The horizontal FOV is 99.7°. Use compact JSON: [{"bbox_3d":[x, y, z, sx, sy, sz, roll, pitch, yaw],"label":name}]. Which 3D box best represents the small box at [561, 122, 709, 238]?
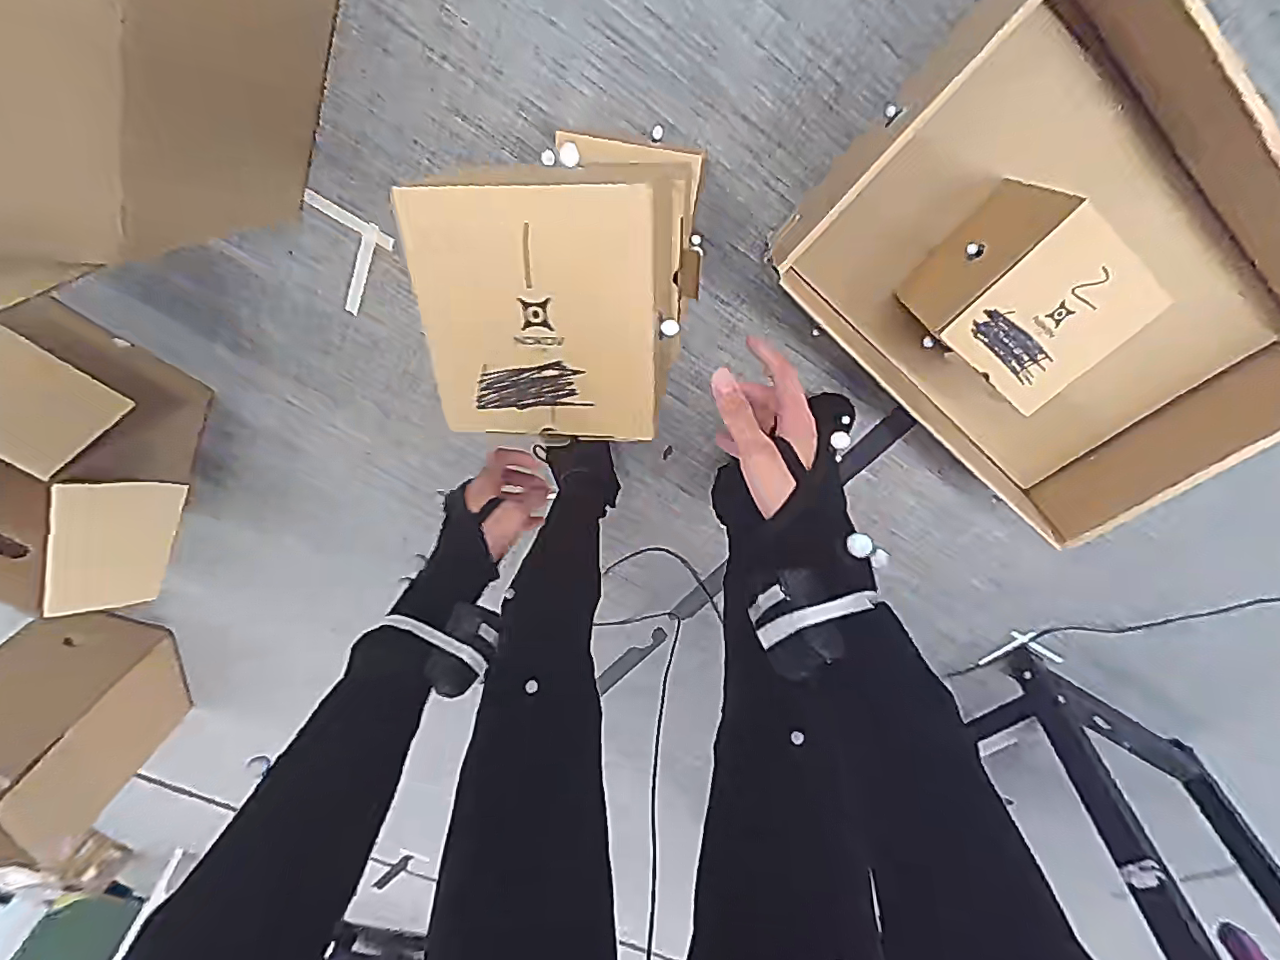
[{"bbox_3d":[-0.007,-0.344,0.696,0.168,0.176,0.179,11,124,0],"label":"small box"}]

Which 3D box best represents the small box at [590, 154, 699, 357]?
[{"bbox_3d":[-0.033,-0.241,0.569,0.179,0.176,0.168,4,125,5],"label":"small box"}]

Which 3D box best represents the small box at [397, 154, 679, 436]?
[{"bbox_3d":[-0.057,-0.154,0.432,0.168,0.176,0.179,3,123,6],"label":"small box"}]
